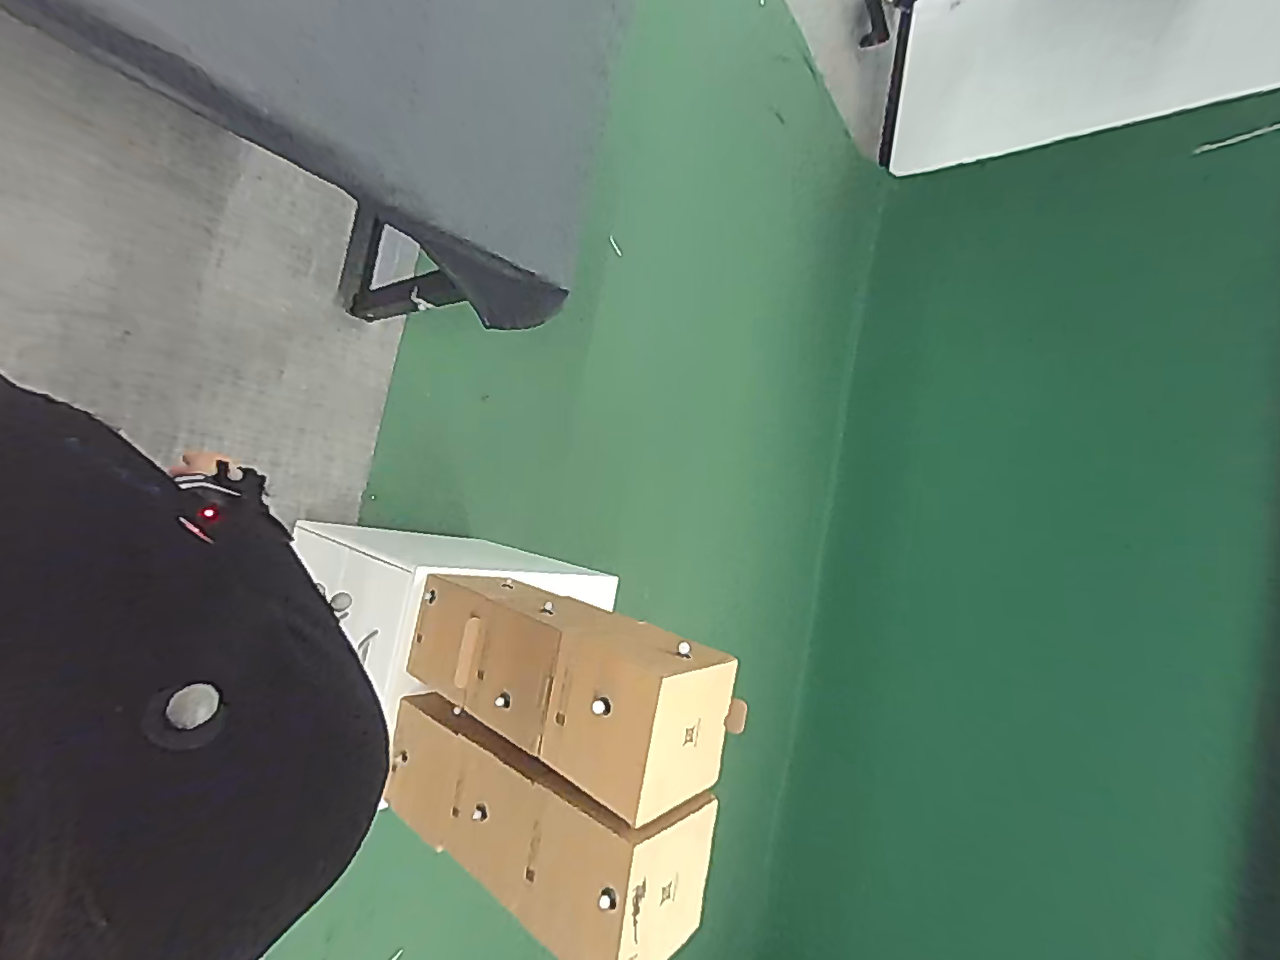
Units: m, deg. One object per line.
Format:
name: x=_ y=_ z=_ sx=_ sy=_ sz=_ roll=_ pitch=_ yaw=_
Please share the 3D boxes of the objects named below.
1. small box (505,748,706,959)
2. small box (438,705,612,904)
small box: x=-0.041 y=0.468 z=0.687 sx=0.179 sy=0.176 sz=0.168 roll=14 pitch=84 yaw=-52
small box: x=-0.168 y=0.452 z=0.789 sx=0.179 sy=0.176 sz=0.168 roll=10 pitch=88 yaw=-52
